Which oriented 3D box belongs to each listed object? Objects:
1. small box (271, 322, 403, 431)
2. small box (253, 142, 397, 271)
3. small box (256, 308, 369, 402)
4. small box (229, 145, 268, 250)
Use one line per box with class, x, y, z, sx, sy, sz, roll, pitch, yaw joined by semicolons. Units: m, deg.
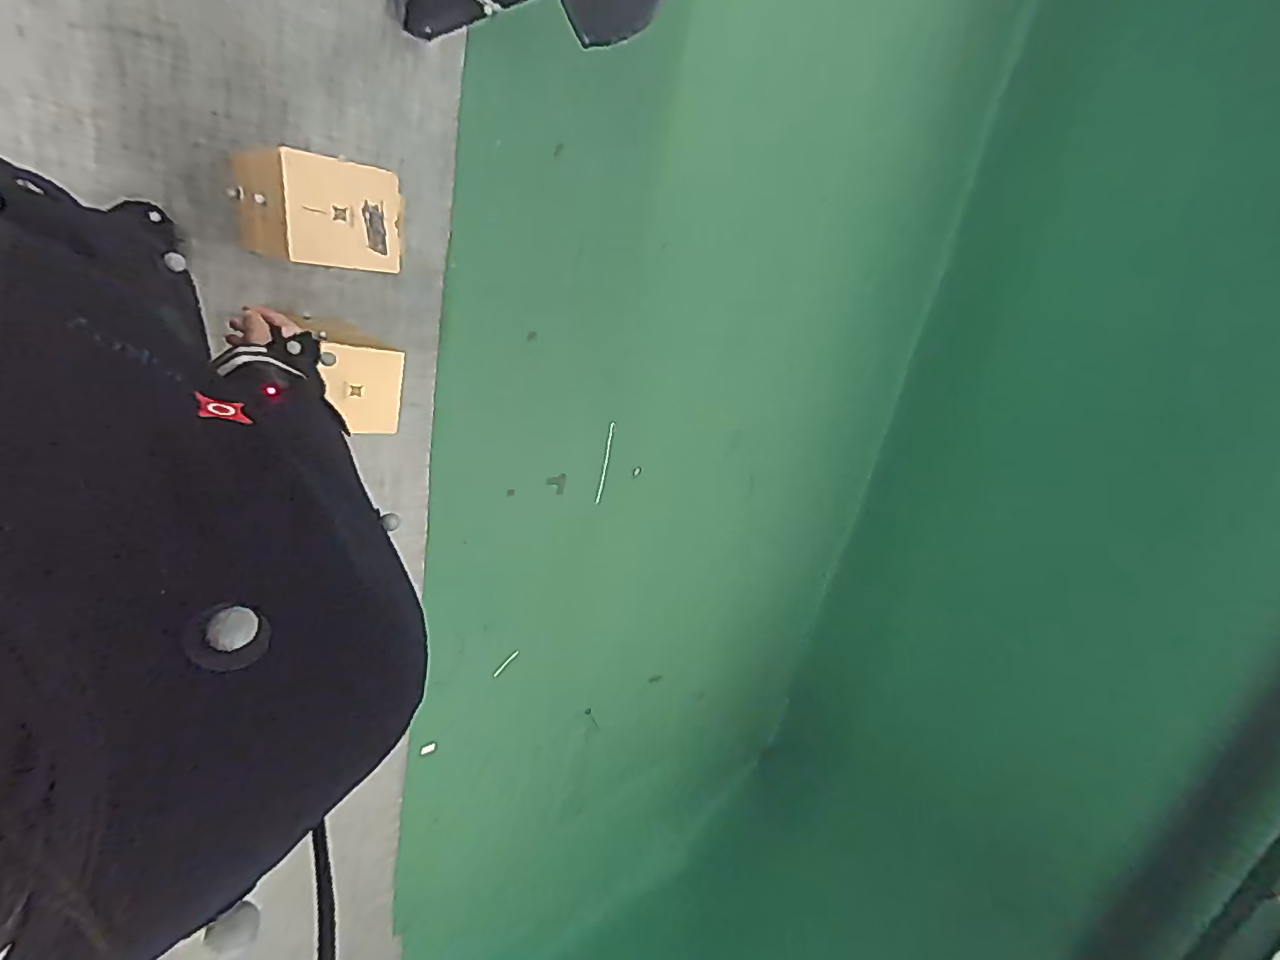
small box;-0.585;-0.199;1.041;0.179;0.176;0.168;-4;114;-46
small box;-0.542;-0.468;0.936;0.179;0.176;0.168;-11;118;-42
small box;-0.697;-0.261;1.144;0.179;0.176;0.168;-5;115;-44
small box;-0.659;-0.525;1.036;0.179;0.176;0.168;-10;118;-43
